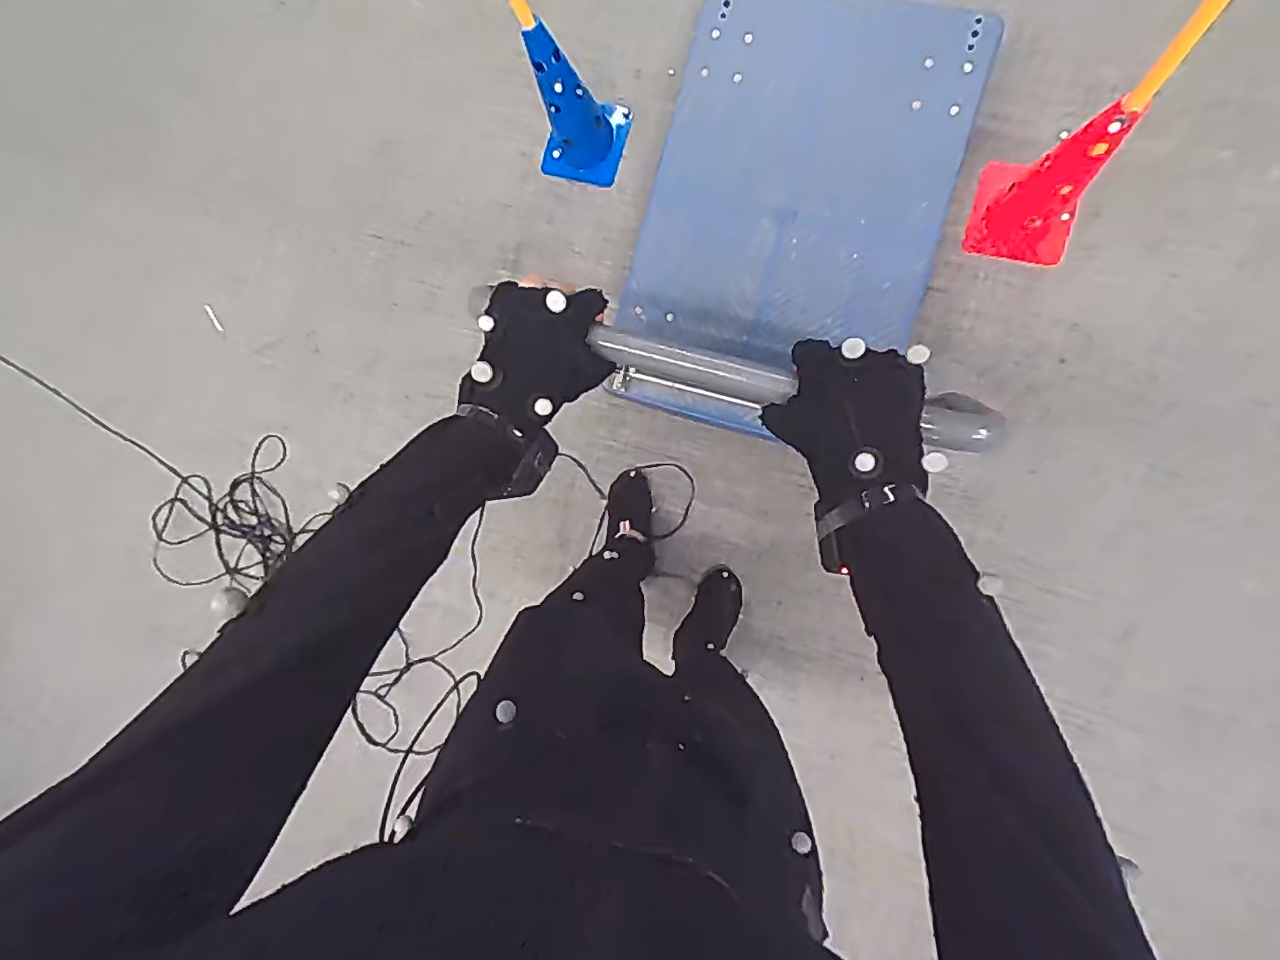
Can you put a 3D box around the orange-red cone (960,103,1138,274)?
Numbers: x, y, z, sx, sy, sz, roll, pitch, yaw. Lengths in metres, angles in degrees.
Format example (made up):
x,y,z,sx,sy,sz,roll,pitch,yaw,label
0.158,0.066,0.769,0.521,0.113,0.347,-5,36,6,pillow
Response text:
x,y,z,sx,sy,sz,roll,pitch,yaw,label
0.781,-0.558,1.003,0.199,0.360,0.198,17,93,13,orange-red cone
